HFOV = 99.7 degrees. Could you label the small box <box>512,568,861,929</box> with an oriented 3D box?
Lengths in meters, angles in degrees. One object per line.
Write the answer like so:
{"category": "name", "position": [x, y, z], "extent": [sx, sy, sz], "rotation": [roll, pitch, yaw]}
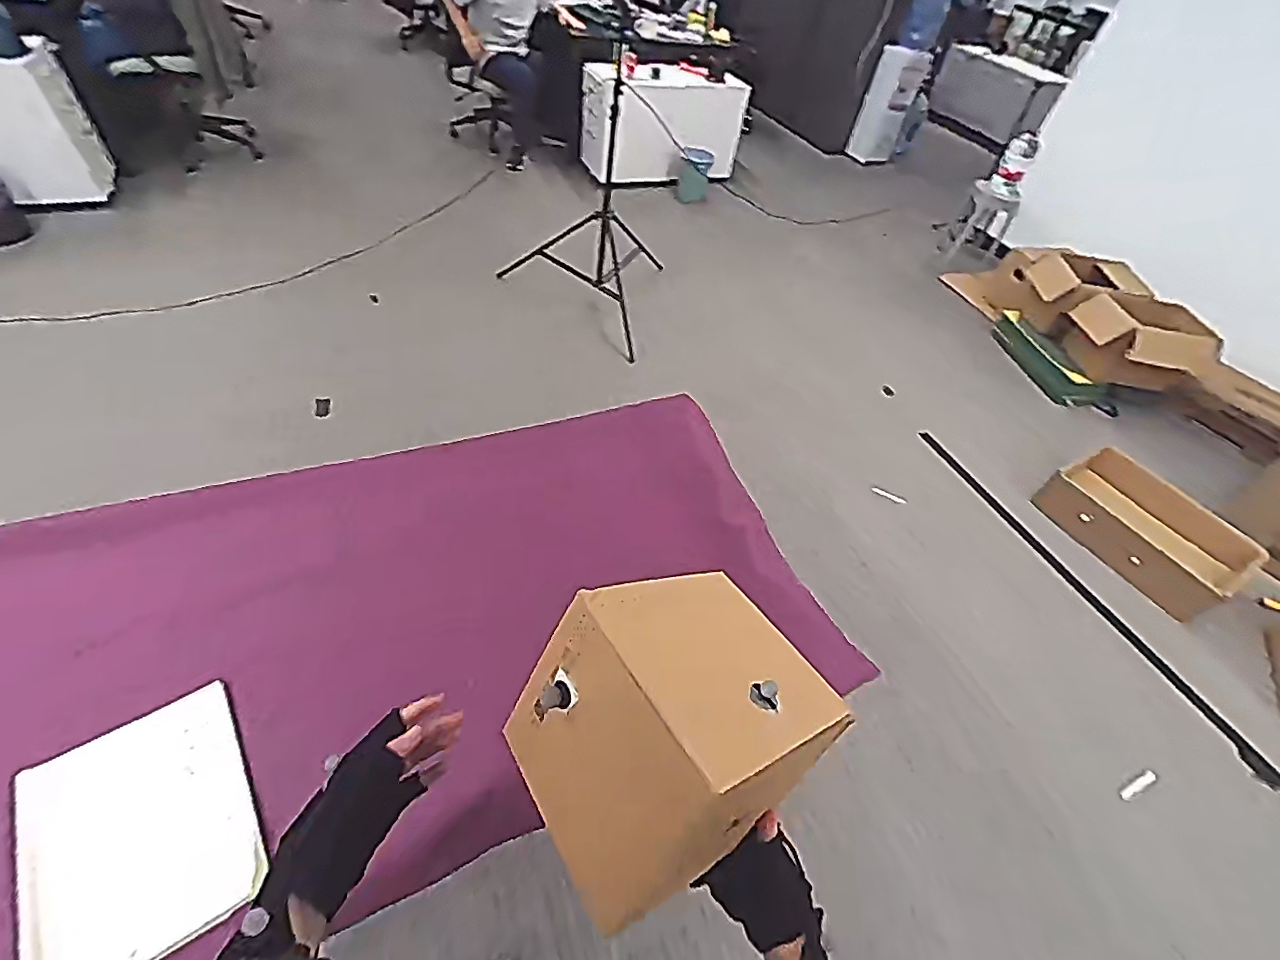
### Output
{"category": "small box", "position": [0.029, 0.185, 0.429], "extent": [0.179, 0.168, 0.176], "rotation": [3, 31, -43]}
